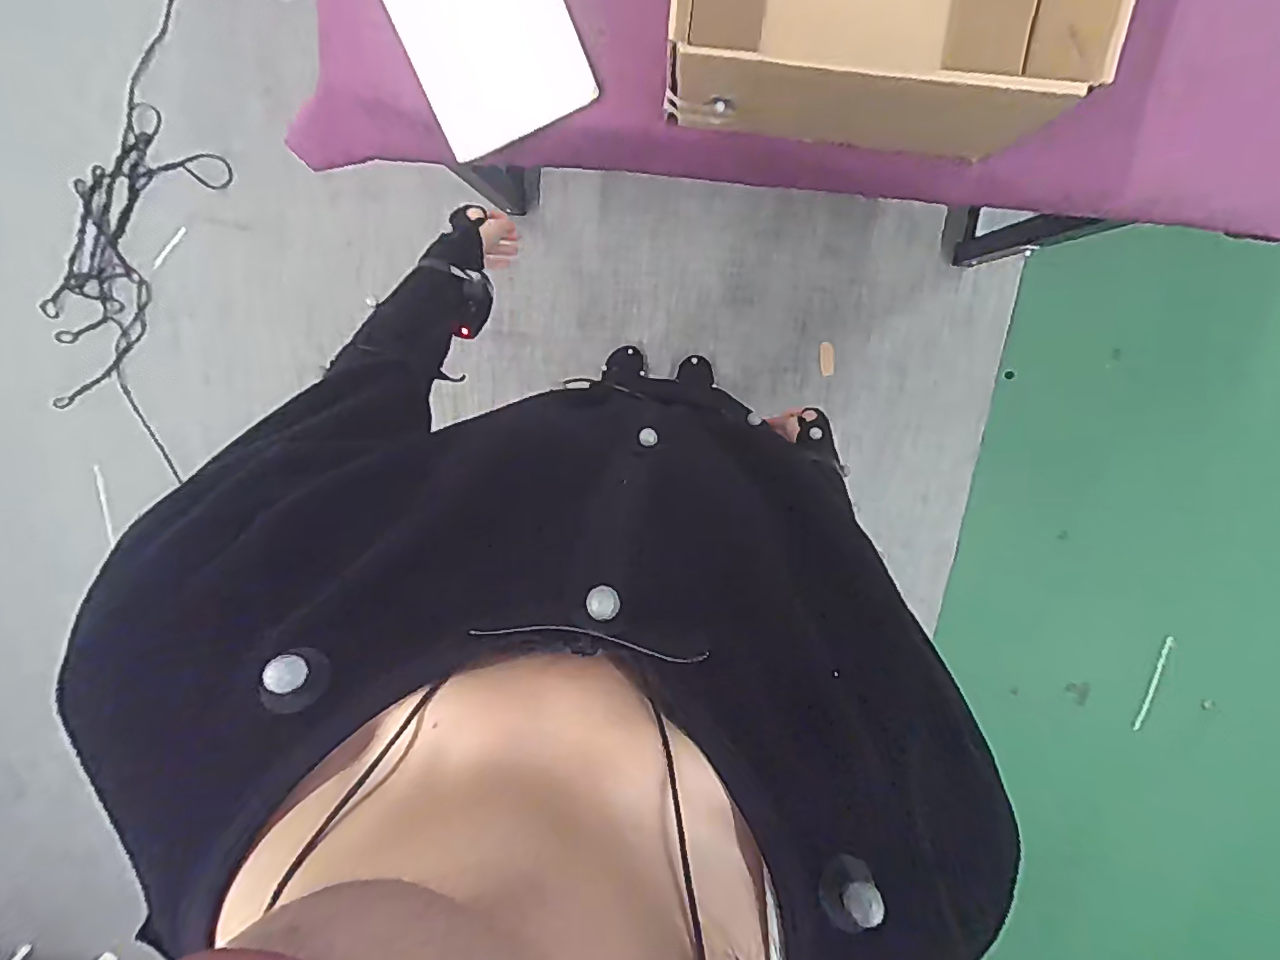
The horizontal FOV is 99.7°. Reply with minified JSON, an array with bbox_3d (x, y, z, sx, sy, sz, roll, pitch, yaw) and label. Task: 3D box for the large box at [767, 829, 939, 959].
[{"bbox_3d":[0.632,1.333,1.645,0.408,0.320,0.320,-9,103,4],"label":"large box"}]
